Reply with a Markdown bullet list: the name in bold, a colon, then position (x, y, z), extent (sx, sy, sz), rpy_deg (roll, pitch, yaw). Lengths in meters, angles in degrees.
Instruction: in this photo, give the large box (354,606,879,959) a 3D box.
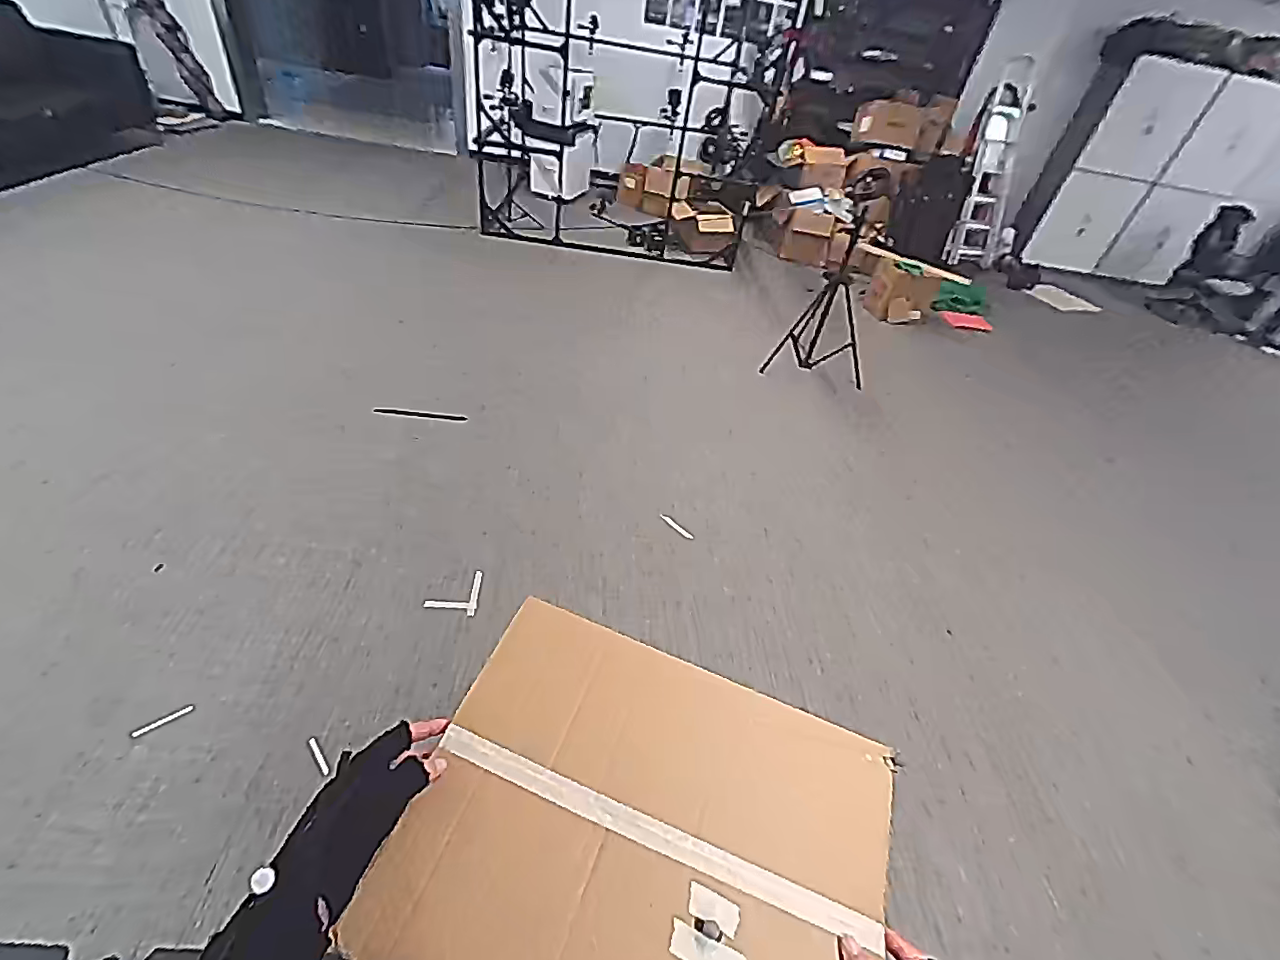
- **large box**: position (-0.010, 0.405, 0.598), extent (0.408, 0.320, 0.320), rpy_deg (21, 50, 8)
